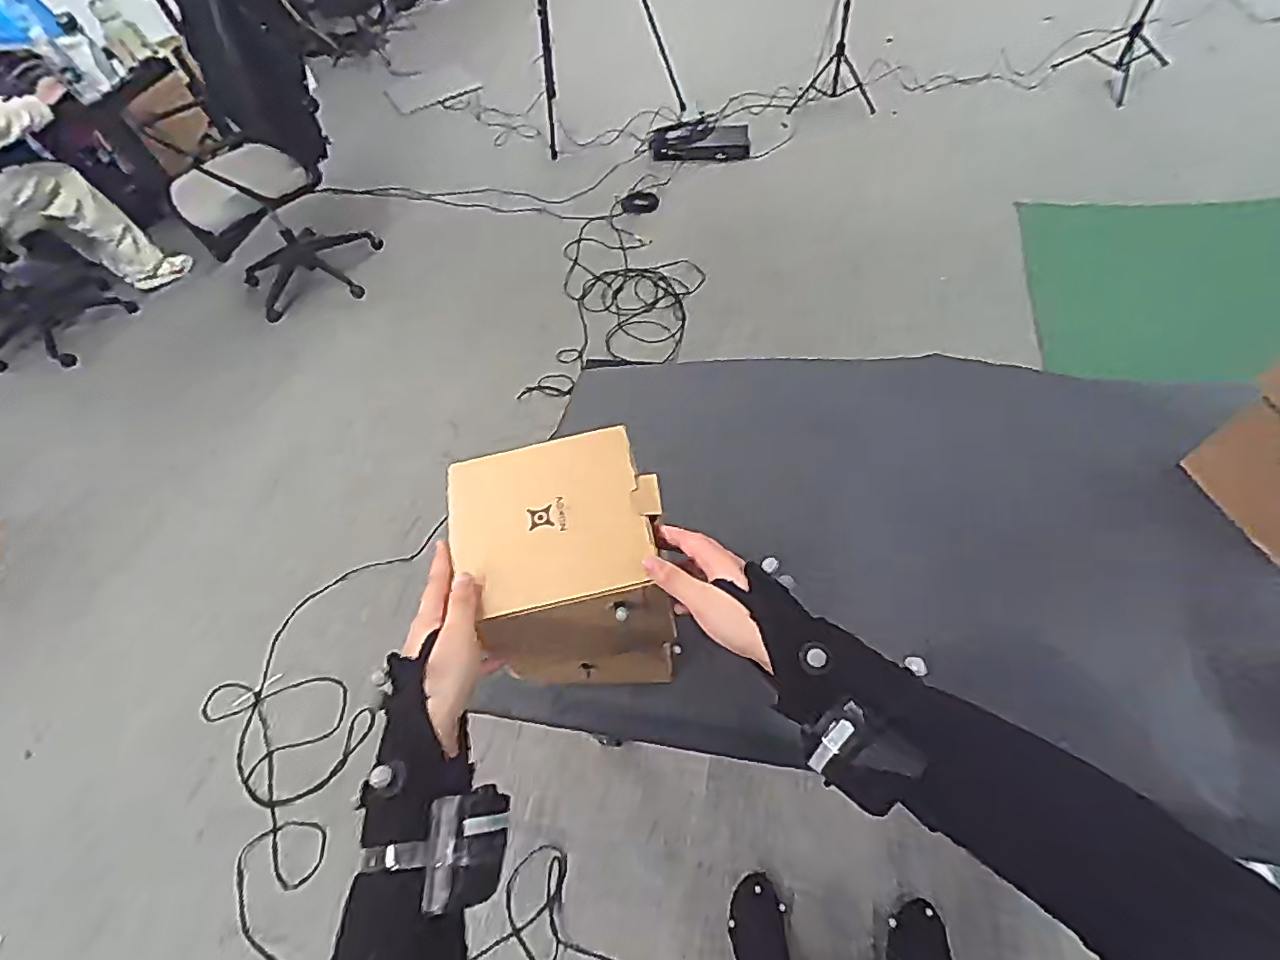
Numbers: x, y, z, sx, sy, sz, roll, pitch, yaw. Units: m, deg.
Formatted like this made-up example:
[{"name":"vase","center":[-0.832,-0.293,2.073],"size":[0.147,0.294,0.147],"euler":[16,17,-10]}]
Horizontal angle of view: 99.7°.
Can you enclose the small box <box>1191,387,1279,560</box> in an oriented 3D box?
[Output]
[{"name":"small box","center":[0.850,-0.018,0.652],"size":[0.168,0.176,0.179],"euler":[-14,57,3]}]

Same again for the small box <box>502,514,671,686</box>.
[{"name":"small box","center":[-0.052,0.157,0.683],"size":[0.179,0.176,0.168],"euler":[-4,57,7]}]
